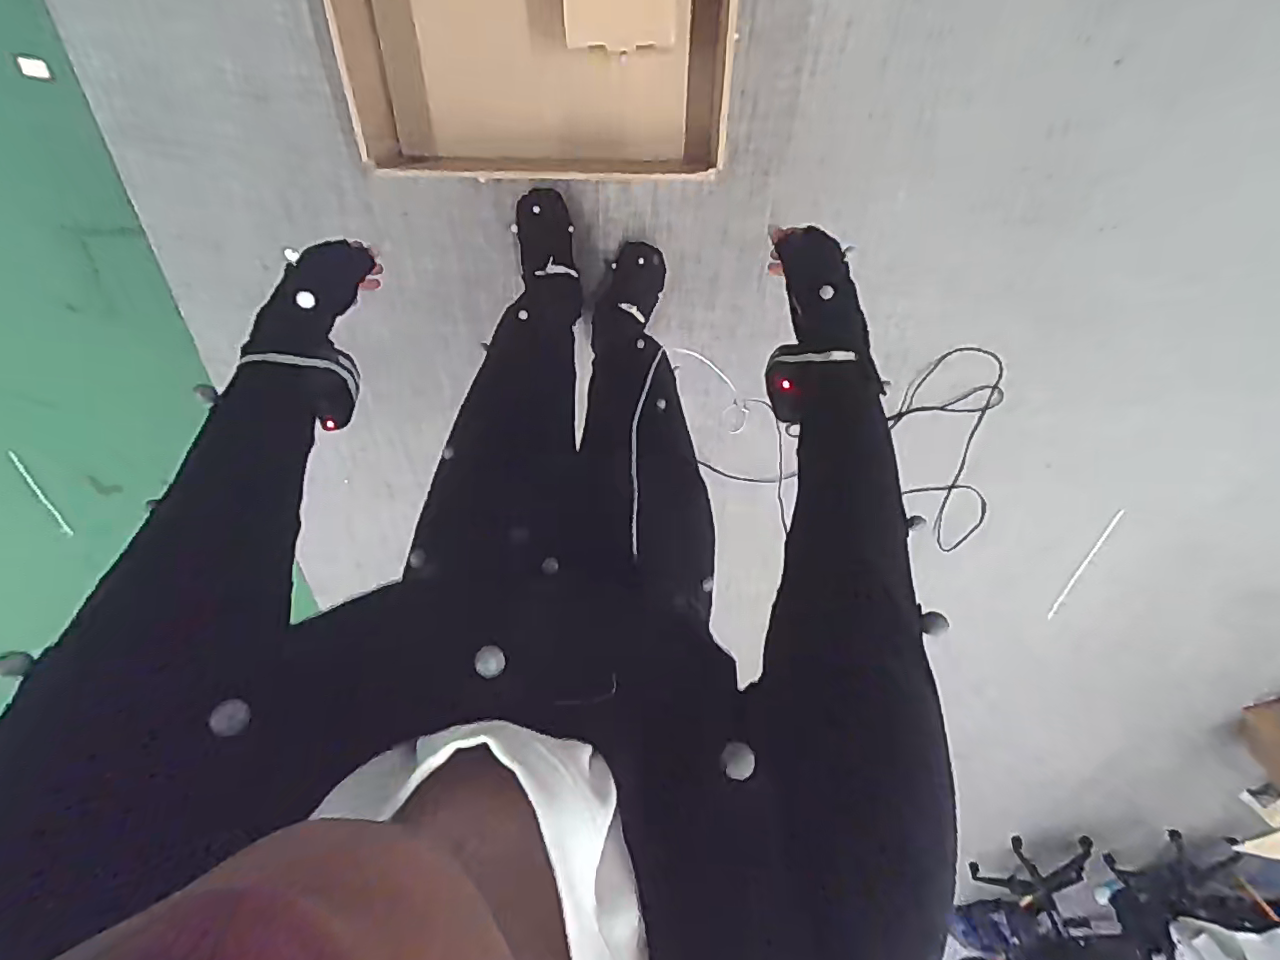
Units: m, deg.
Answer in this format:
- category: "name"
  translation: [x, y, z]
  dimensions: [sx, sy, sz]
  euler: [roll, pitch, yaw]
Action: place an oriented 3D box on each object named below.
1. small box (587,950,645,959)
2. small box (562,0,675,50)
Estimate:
- category: "small box"
  translation: [-0.083, 1.591, 1.676]
  dimensions: [0.168, 0.176, 0.179]
  euler: [19, 124, -13]
- category: "small box"
  translation: [-0.030, -0.770, 0.822]
  dimensions: [0.168, 0.176, 0.179]
  euler: [-1, 125, 3]
